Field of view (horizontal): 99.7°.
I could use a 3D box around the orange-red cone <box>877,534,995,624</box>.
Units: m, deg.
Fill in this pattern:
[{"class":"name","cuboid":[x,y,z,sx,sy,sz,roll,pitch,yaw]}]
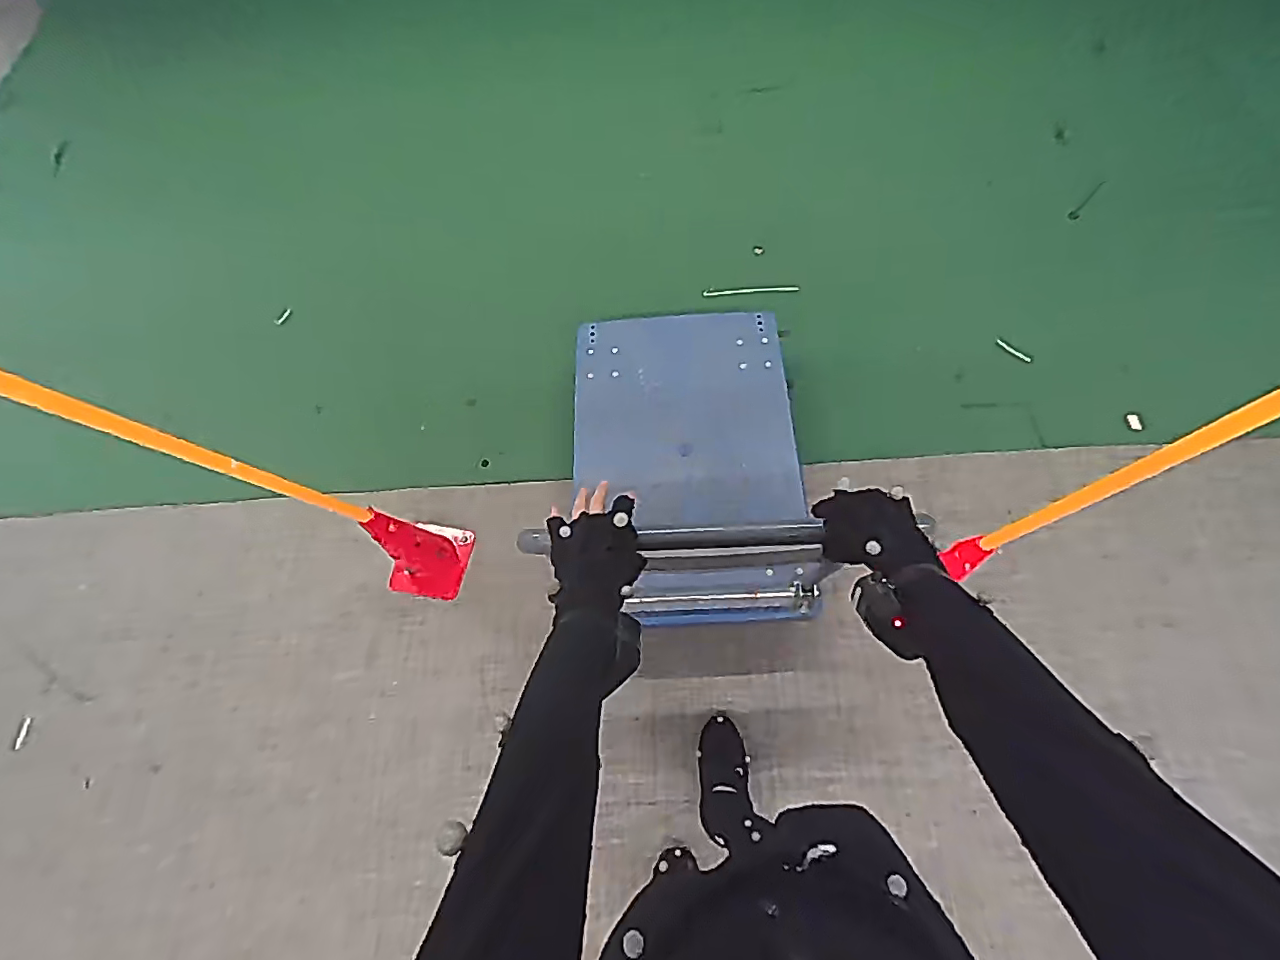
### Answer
[{"class":"orange-red cone","cuboid":[0.703,0.196,1.239,0.198,0.360,0.199,7,68,7]}]
